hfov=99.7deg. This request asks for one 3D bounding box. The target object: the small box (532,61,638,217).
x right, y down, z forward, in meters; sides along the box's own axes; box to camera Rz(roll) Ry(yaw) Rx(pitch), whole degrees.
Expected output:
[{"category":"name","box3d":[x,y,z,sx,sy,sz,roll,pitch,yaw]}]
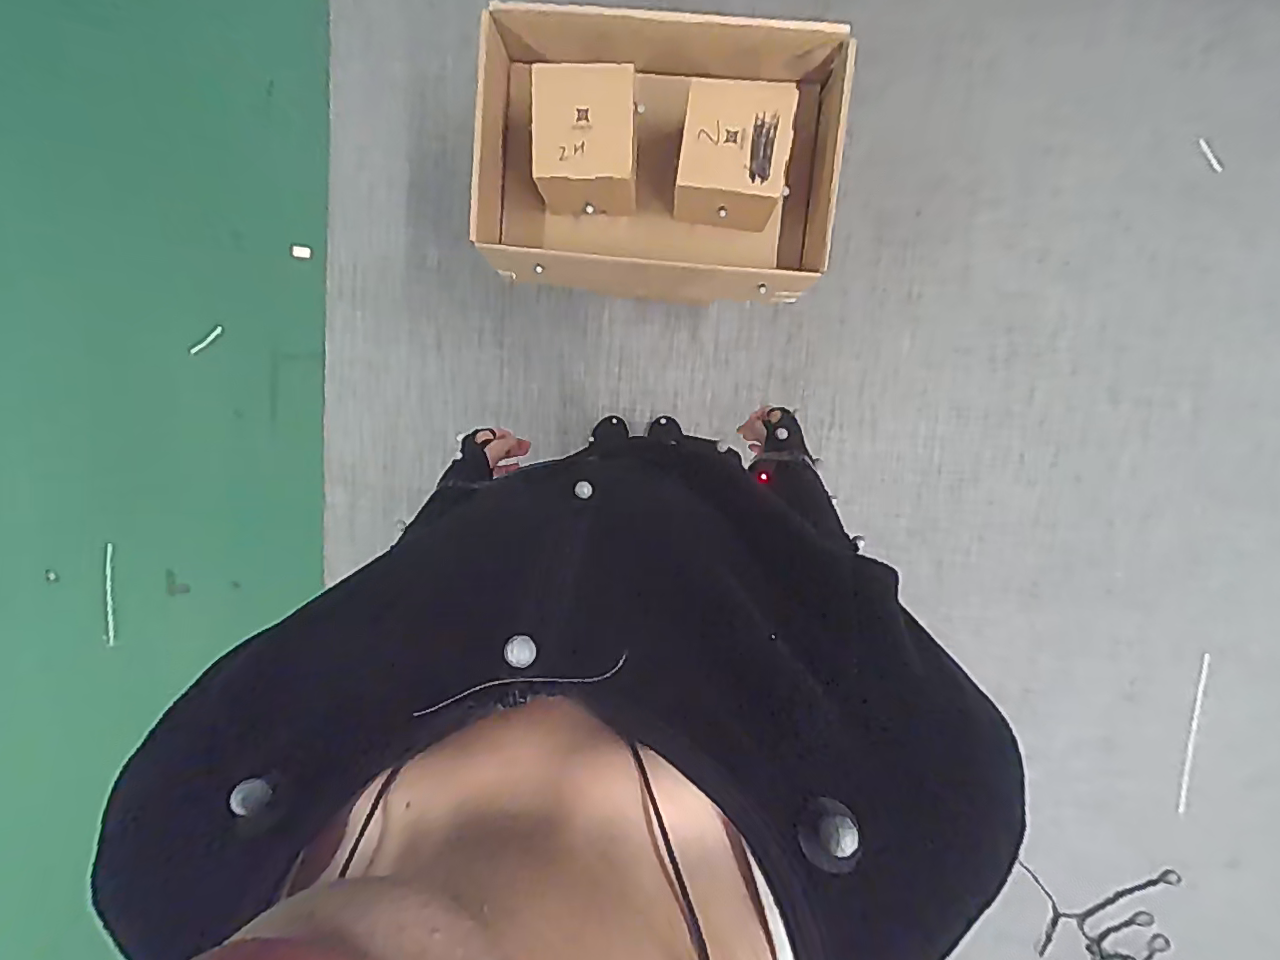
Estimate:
[{"category":"small box","box3d":[-0.090,-0.587,0.949,0.168,0.176,0.179,2,96,2]}]
